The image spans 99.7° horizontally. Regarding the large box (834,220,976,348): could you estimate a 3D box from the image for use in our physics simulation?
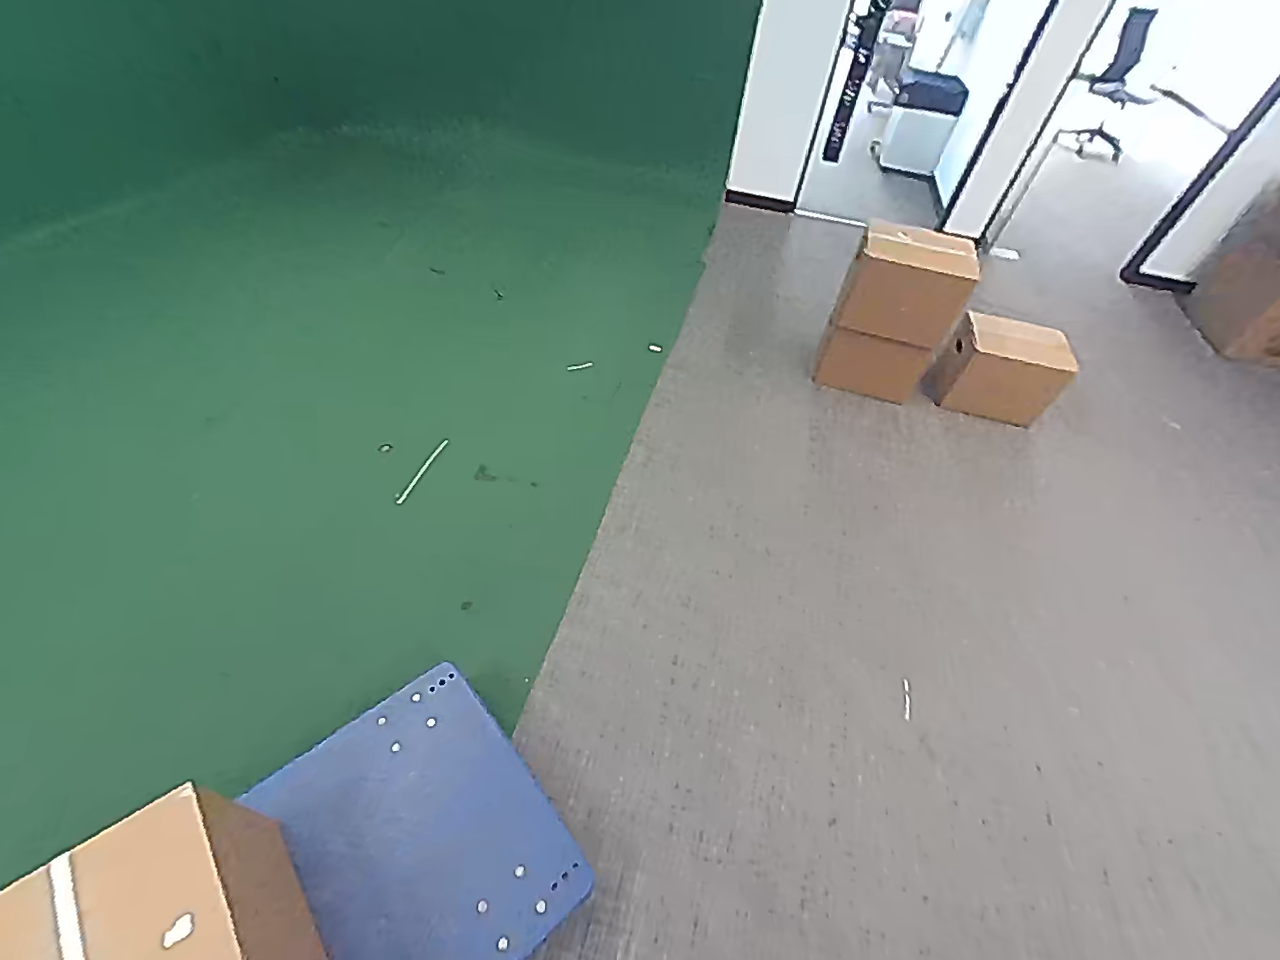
[{"bbox_3d":[1.026,-0.768,2.126,0.408,0.320,0.320,16,51,8],"label":"large box"}]
